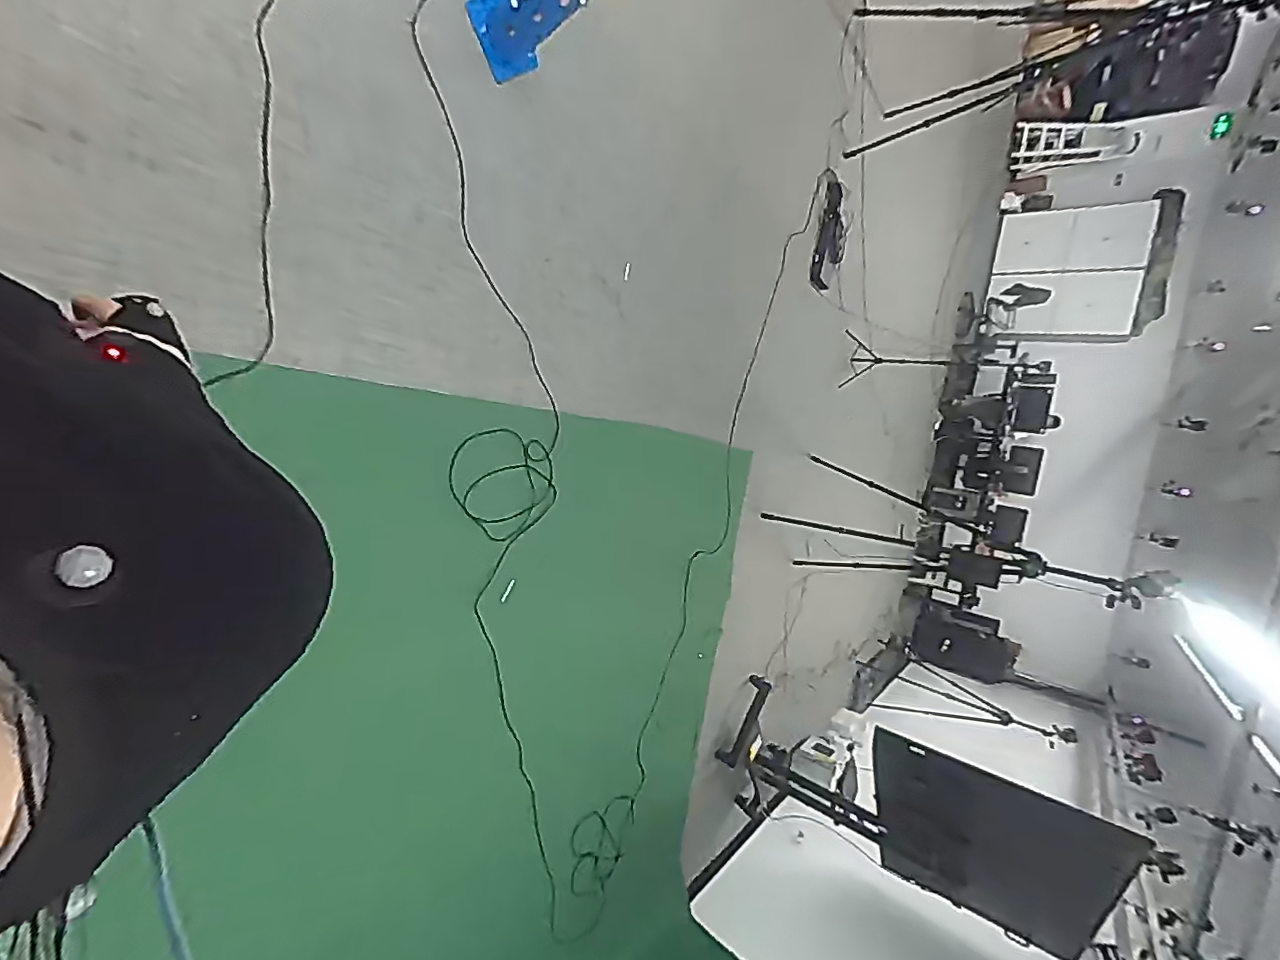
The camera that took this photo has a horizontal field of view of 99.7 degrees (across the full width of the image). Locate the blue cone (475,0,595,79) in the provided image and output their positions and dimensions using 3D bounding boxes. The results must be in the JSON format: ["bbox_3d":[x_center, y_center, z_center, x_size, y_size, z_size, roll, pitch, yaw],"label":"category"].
[{"bbox_3d":[-0.268,-1.309,1.513,0.193,0.380,0.192,-54,136,-31],"label":"blue cone"}]
